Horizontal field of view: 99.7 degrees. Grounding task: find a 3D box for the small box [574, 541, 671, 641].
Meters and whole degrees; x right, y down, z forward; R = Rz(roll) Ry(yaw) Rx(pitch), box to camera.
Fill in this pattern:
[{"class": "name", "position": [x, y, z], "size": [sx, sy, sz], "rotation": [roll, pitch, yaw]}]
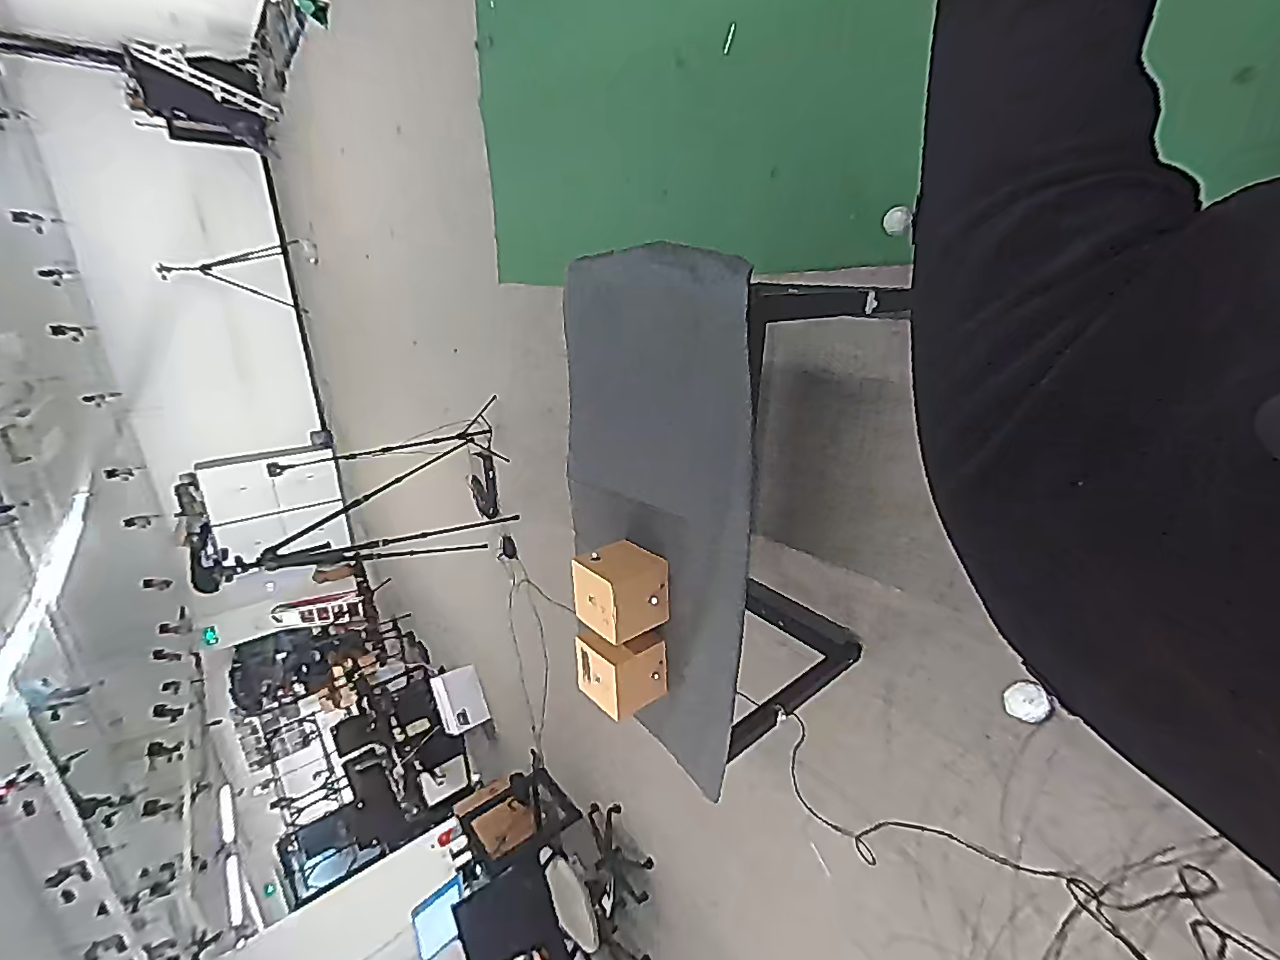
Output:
[{"class": "small box", "position": [-0.043, 0.263, 1.335], "size": [0.179, 0.176, 0.168], "rotation": [19, 118, 48]}]
